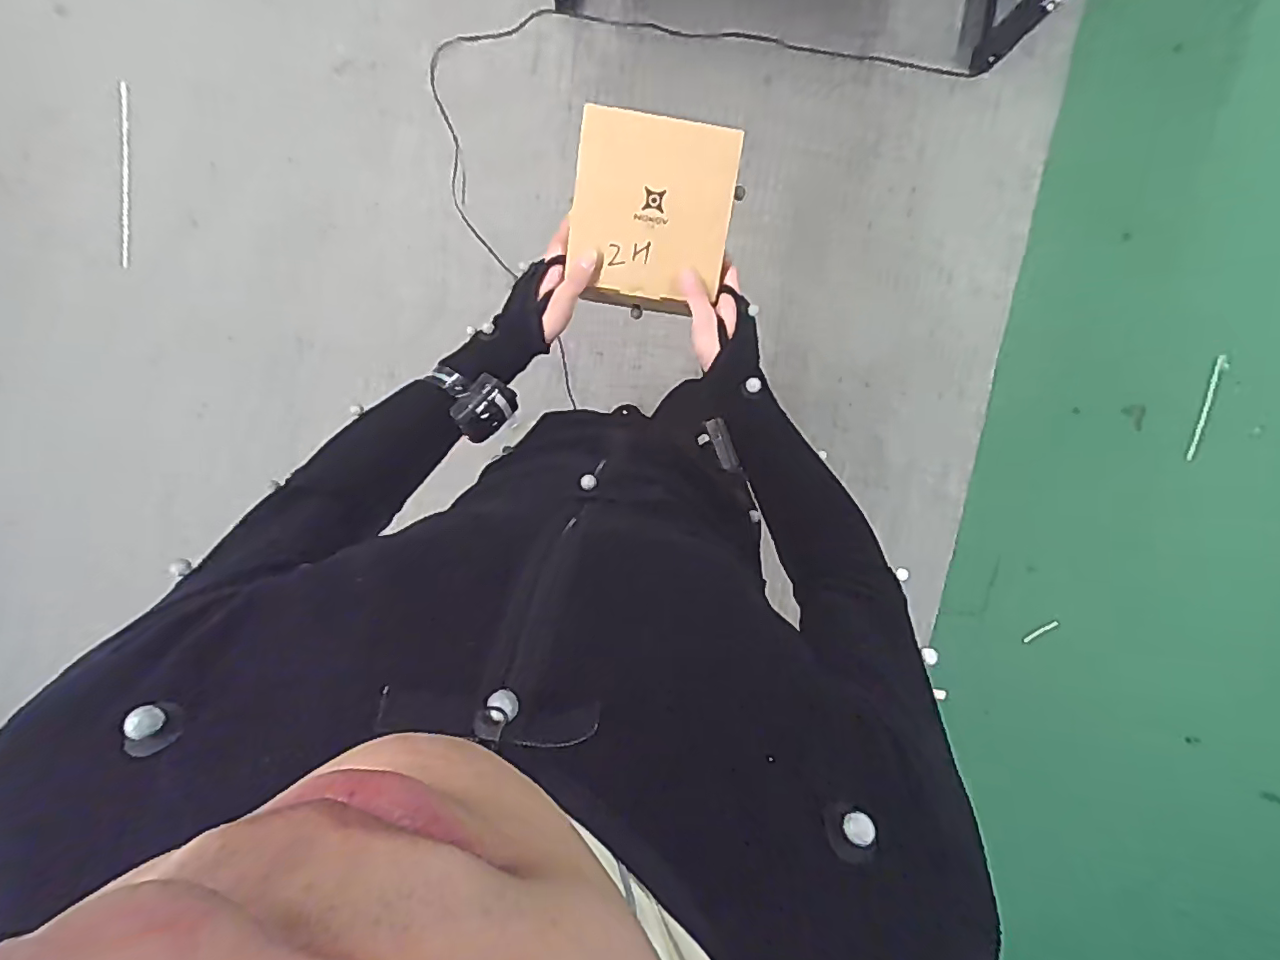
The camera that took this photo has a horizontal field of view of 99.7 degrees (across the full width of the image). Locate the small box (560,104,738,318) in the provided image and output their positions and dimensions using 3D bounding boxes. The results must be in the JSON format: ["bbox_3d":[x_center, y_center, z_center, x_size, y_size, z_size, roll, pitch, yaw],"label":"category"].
[{"bbox_3d":[0.006,-0.298,0.639,0.168,0.176,0.179,8,103,-2],"label":"small box"}]

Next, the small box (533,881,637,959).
[{"bbox_3d":[-0.099,0.823,0.906,0.168,0.176,0.179,10,99,-1],"label":"small box"}]
